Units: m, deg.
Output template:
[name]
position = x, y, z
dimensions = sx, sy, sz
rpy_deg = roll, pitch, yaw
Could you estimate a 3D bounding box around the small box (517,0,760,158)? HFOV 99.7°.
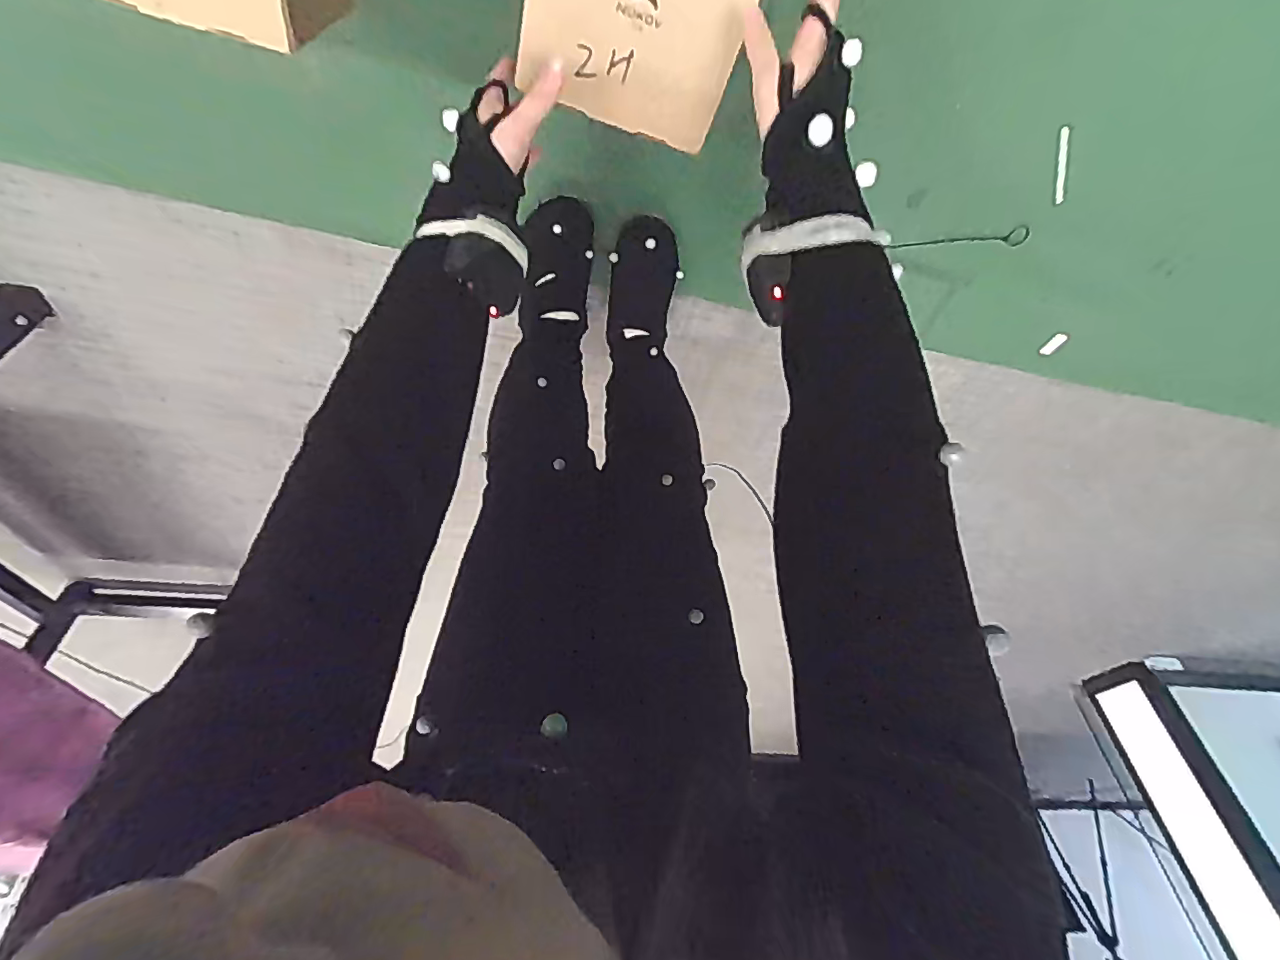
[small box]
position = 0.000, -0.419, 0.452
dimensions = 0.168, 0.176, 0.179
rpy_deg = 11, 140, -16
